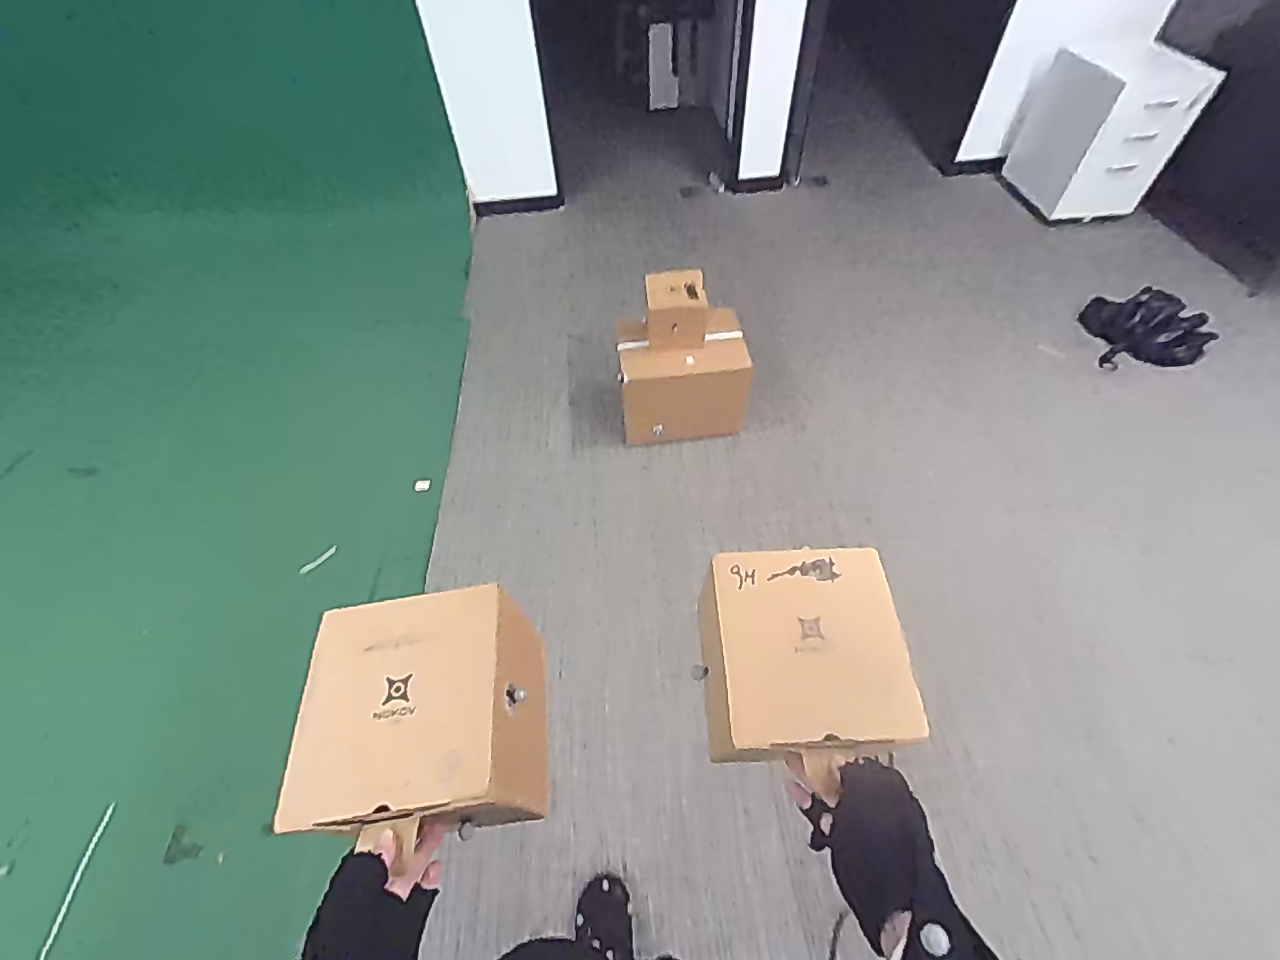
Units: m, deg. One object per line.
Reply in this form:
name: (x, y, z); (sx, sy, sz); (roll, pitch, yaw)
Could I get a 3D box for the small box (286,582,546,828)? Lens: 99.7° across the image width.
small box: (-0.192, 0.224, 0.523); (0.168, 0.176, 0.179); (-10, 53, 1)

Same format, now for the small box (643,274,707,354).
small box: (0.103, -0.514, 1.686); (0.179, 0.176, 0.168); (-7, 58, -2)
